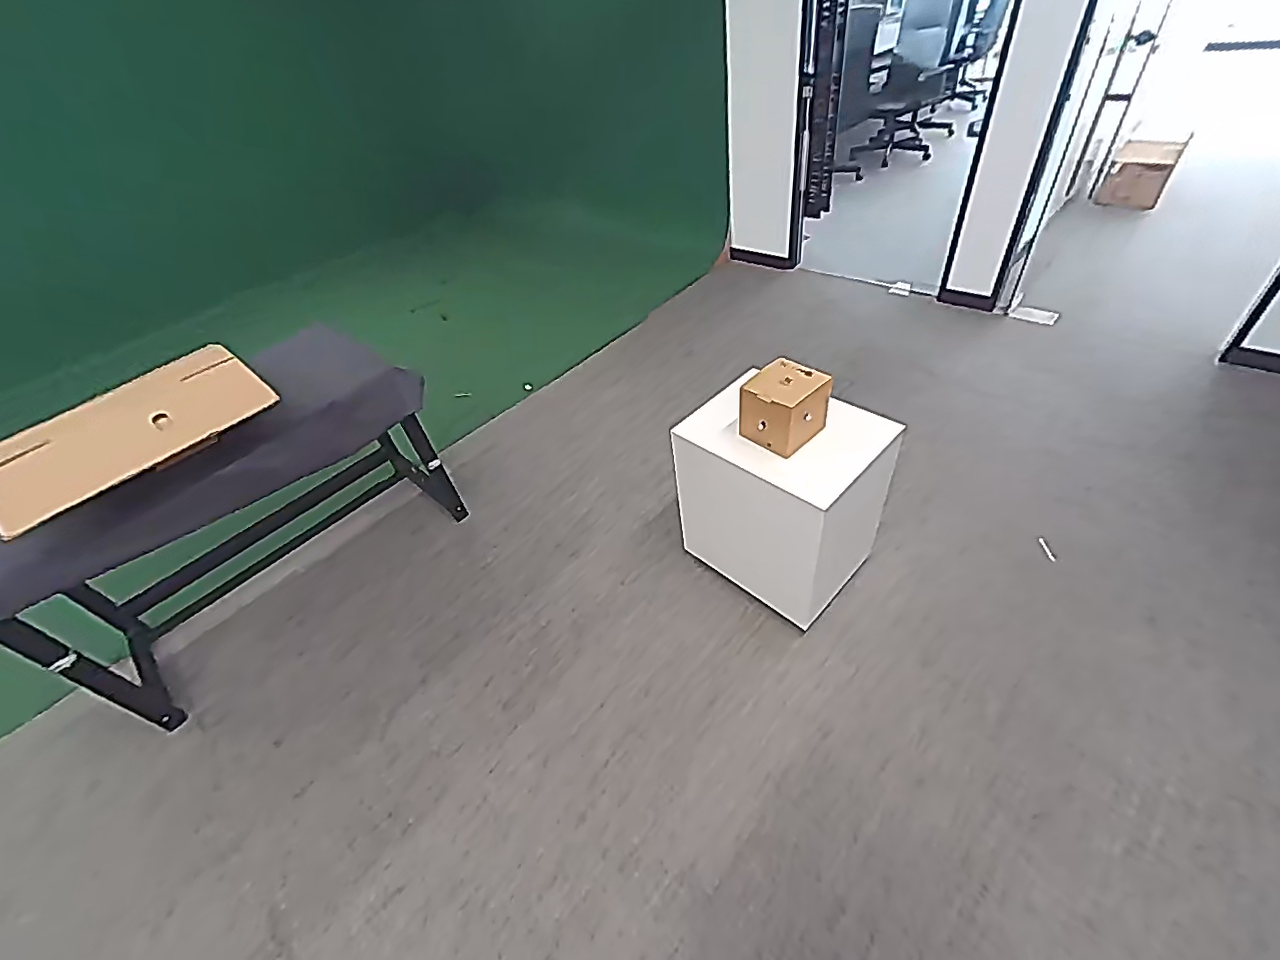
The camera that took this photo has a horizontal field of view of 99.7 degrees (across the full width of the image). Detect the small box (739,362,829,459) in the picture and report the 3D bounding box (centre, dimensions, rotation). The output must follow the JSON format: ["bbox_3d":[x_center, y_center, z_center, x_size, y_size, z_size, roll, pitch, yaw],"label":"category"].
[{"bbox_3d":[0.386,-0.186,1.458,0.179,0.176,0.168,-38,50,-27],"label":"small box"}]
